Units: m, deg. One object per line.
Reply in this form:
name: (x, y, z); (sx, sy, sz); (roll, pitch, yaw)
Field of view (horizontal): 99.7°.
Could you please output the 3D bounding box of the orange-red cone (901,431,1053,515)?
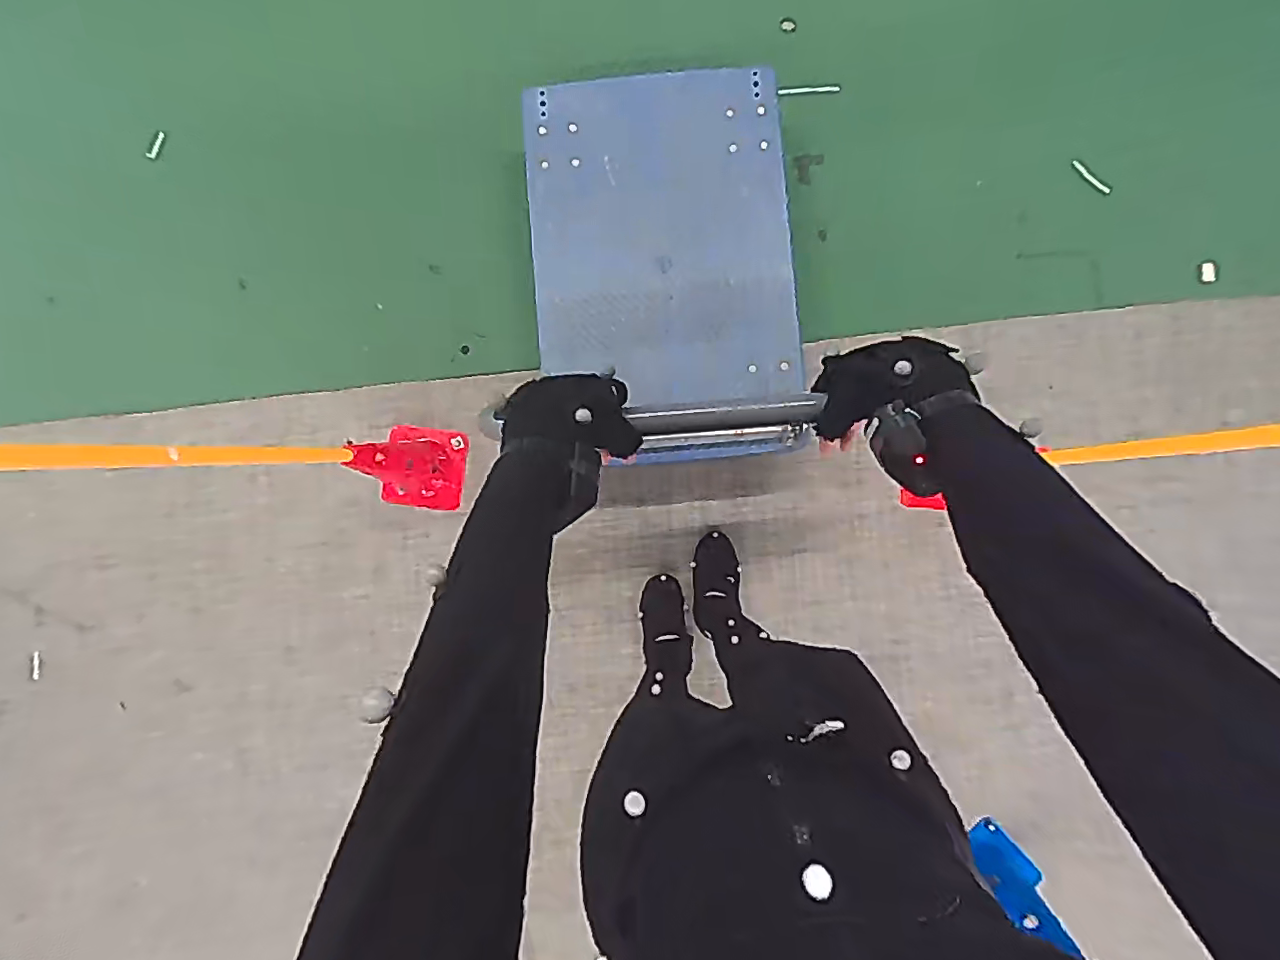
orange-red cone: (0.750, -0.025, 1.172); (0.198, 0.360, 0.199); (6, 88, 2)
